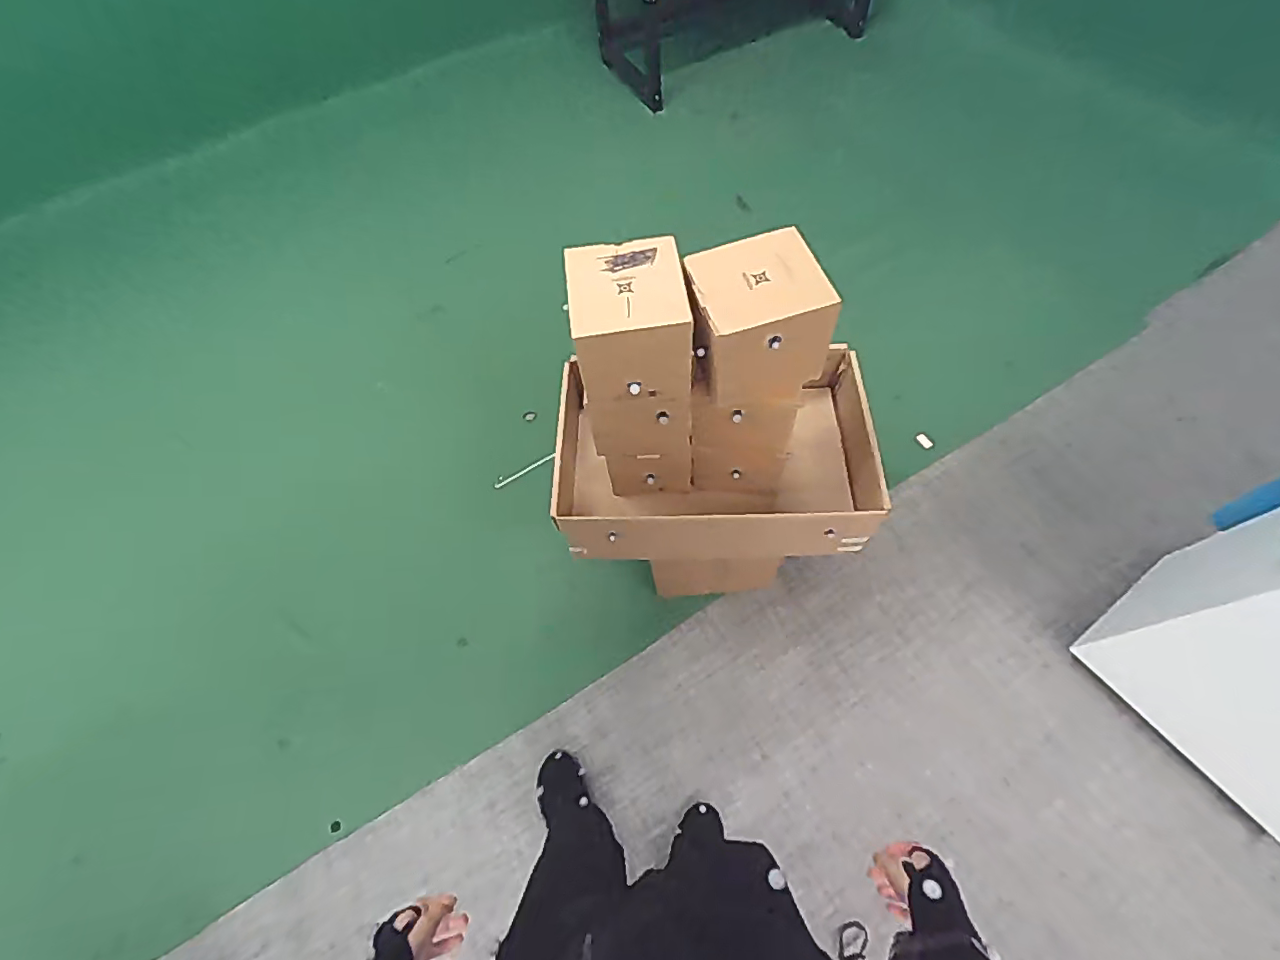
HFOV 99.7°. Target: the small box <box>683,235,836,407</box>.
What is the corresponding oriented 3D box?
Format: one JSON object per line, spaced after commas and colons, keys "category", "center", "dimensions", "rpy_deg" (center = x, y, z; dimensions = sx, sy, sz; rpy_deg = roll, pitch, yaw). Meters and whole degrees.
{"category": "small box", "center": [0.174, -0.235, 0.831], "dimensions": [0.179, 0.176, 0.168], "rpy_deg": [-15, 61, -1]}
